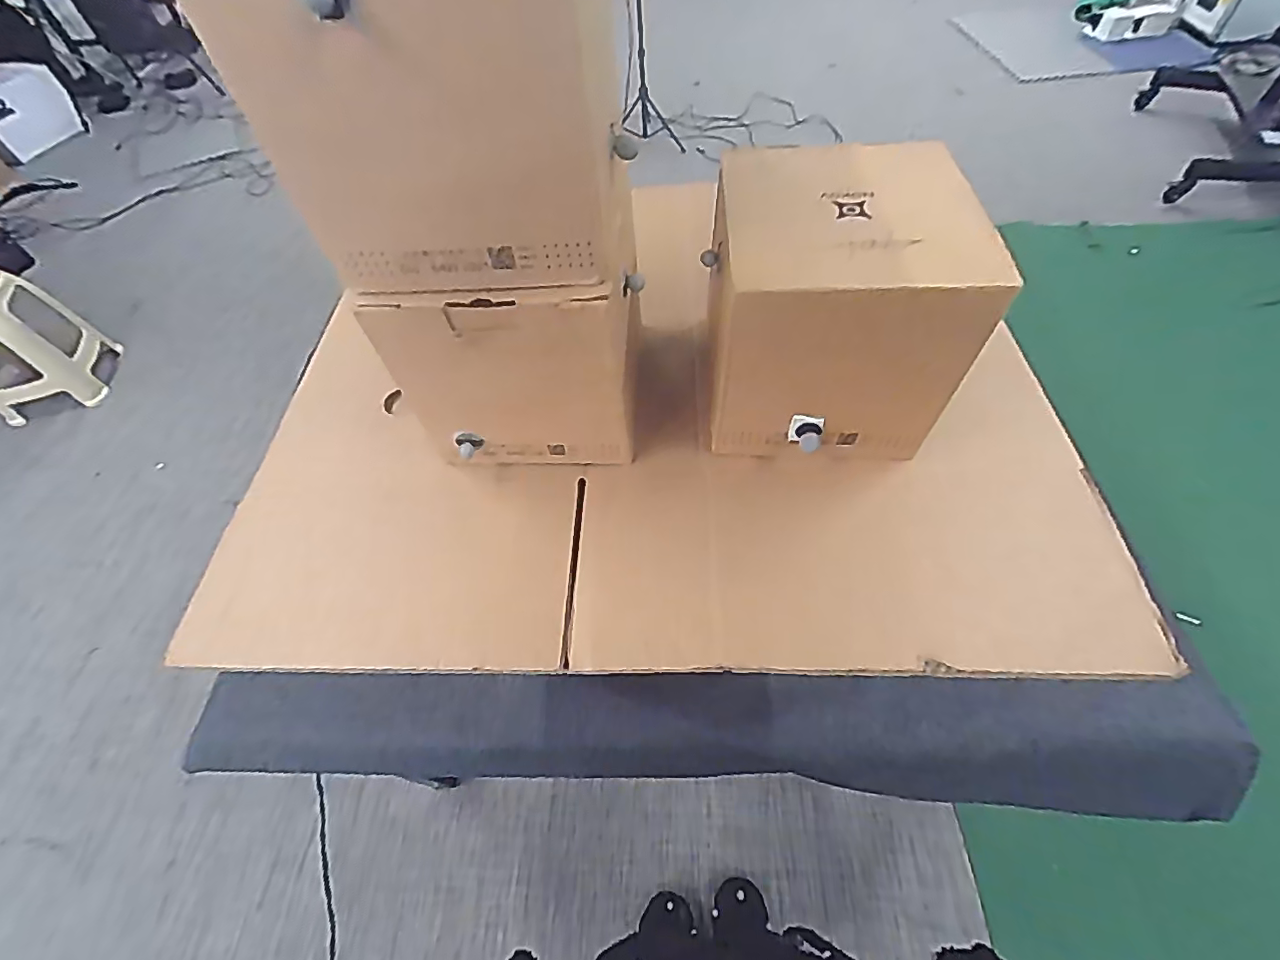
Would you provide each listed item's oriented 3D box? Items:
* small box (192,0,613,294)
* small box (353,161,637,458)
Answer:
[{"bbox_3d":[-0.107,-0.233,0.319,0.168,0.176,0.179,-1,56,4],"label":"small box"},{"bbox_3d":[-0.092,-0.131,0.447,0.168,0.176,0.179,0,55,5],"label":"small box"}]
